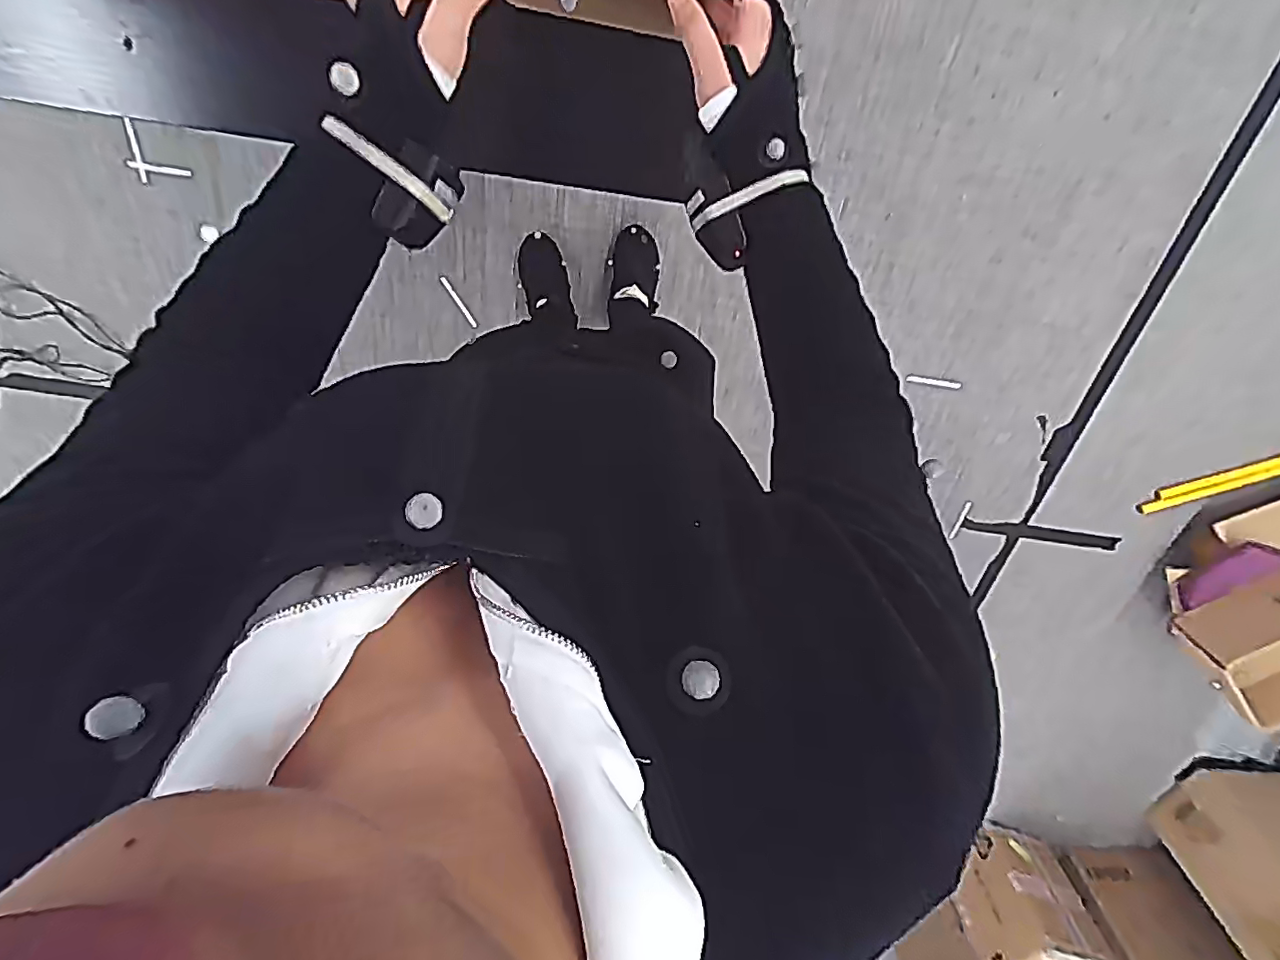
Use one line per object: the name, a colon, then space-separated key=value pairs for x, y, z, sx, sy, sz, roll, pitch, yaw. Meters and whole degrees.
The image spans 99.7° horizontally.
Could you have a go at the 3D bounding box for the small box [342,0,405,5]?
small box: x=-0.279 y=-0.493 z=0.409 sx=0.179 sy=0.176 sz=0.168 roll=6 pitch=119 yaw=-3

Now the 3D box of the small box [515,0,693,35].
small box: x=-0.031 y=-0.475 z=0.417 sx=0.179 sy=0.176 sz=0.168 roll=9 pitch=119 yaw=-2
